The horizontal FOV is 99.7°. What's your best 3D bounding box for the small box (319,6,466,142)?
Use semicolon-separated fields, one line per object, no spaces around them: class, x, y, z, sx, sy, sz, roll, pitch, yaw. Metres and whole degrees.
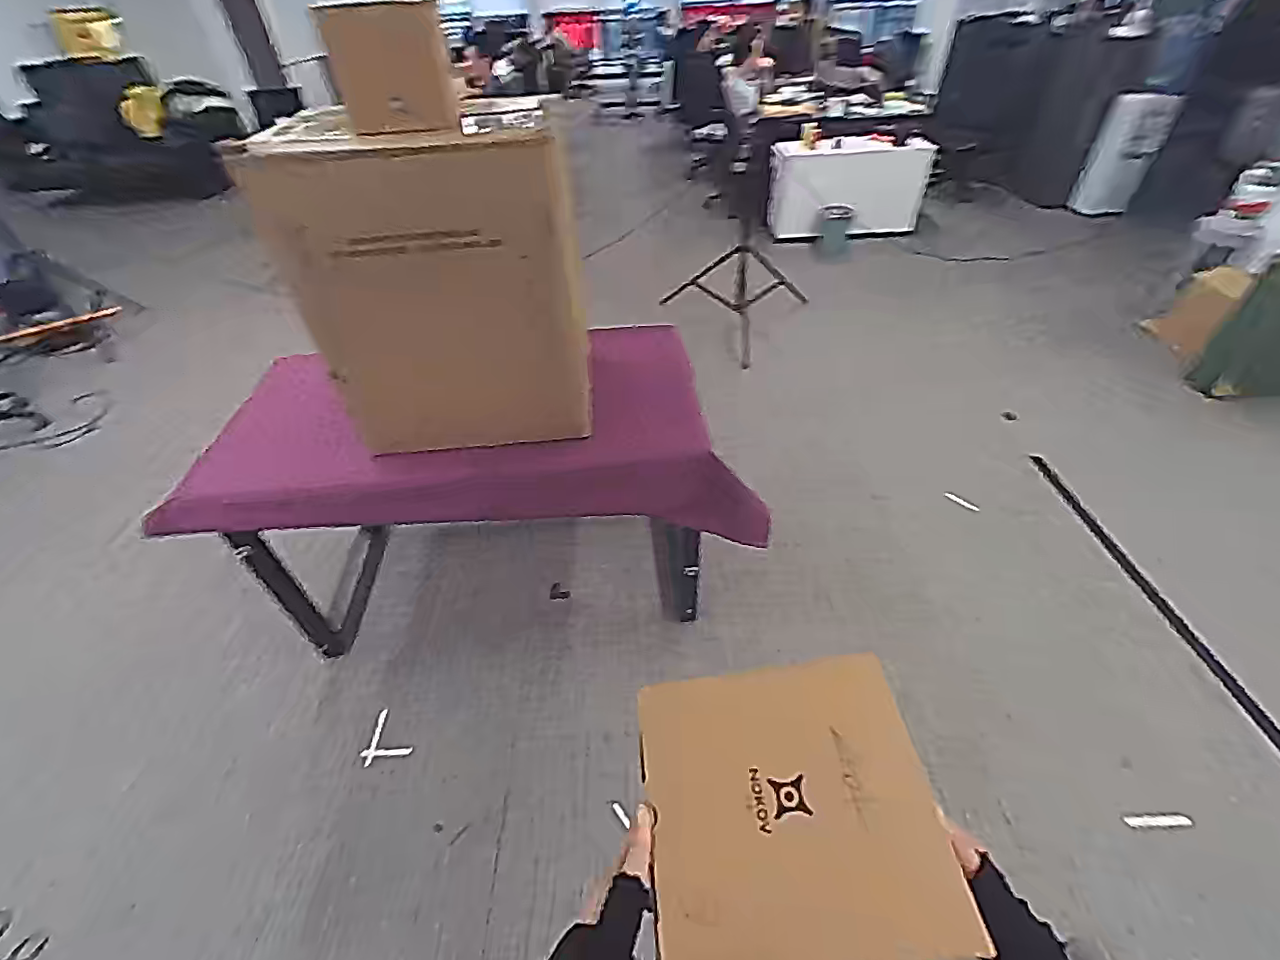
small box;-0.411;-0.704;0.938;0.179;0.176;0.168;-7;43;-5
